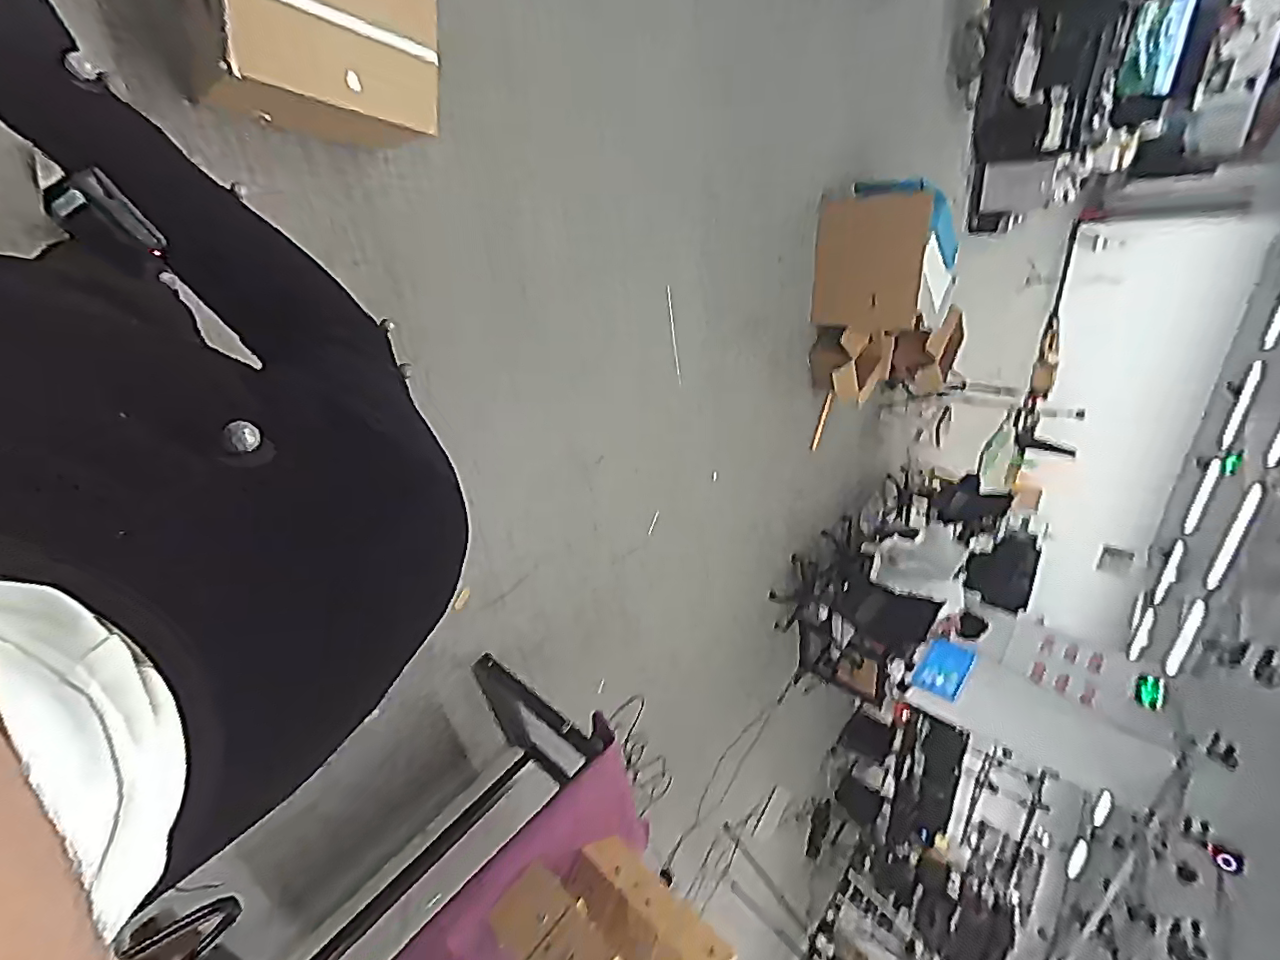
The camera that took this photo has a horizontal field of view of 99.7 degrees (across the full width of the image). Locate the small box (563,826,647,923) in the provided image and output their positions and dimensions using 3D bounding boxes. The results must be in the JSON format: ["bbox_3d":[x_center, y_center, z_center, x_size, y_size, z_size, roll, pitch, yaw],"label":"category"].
[{"bbox_3d":[-0.113,1.239,1.705,0.179,0.176,0.168,21,89,-50],"label":"small box"}]

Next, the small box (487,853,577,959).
[{"bbox_3d":[-0.286,1.179,1.481,0.179,0.176,0.168,-37,131,-34],"label":"small box"}]

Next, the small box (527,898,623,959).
[{"bbox_3d":[-0.164,1.226,1.381,0.168,0.176,0.179,-36,130,-35],"label":"small box"}]

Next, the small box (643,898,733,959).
[{"bbox_3d":[0.124,1.324,1.501,0.179,0.176,0.168,18,90,-50],"label":"small box"}]

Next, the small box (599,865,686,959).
[{"bbox_3d":[0.003,1.285,1.601,0.168,0.176,0.179,21,89,-49],"label":"small box"}]
